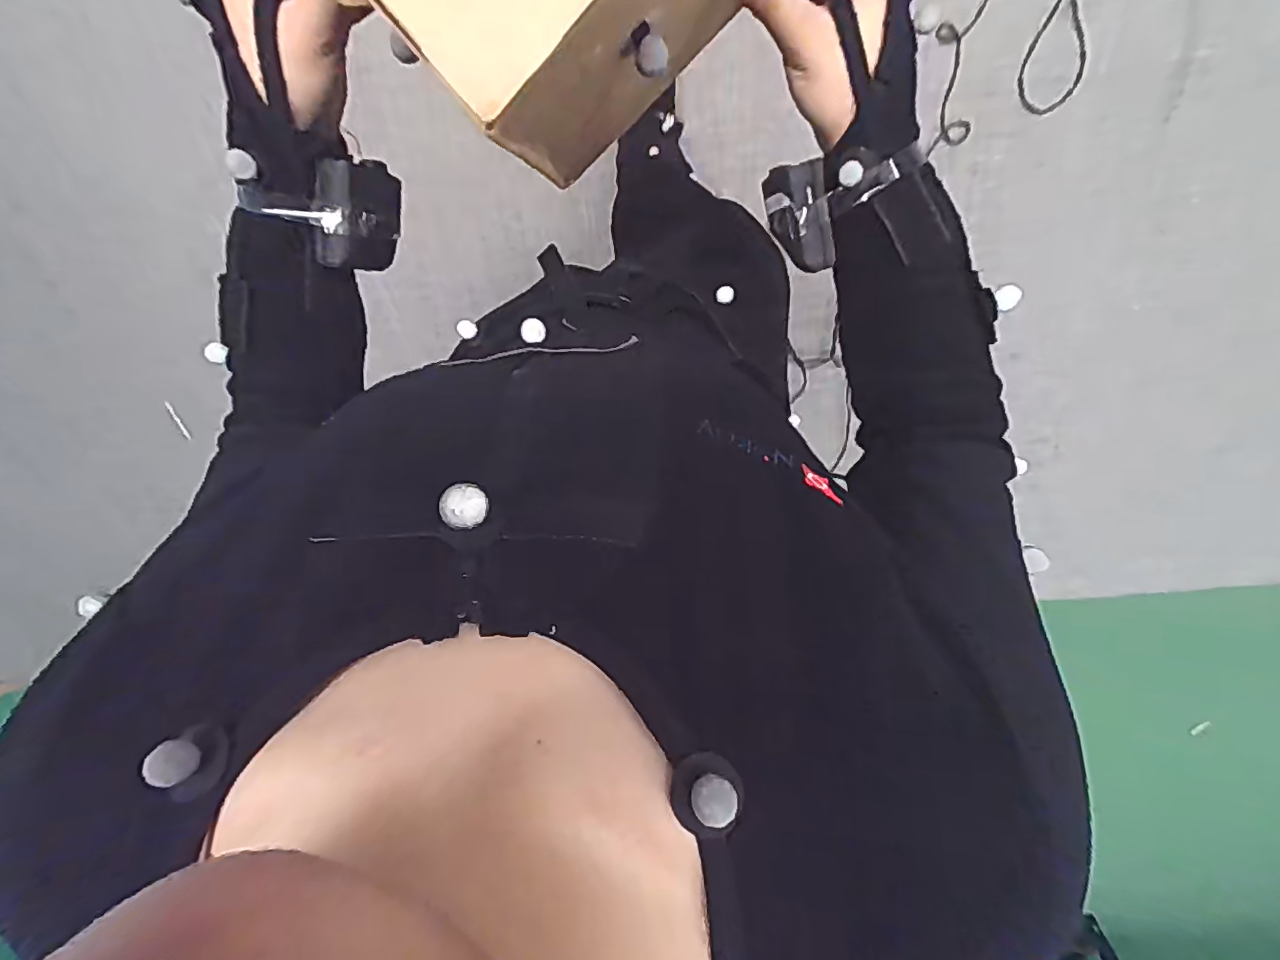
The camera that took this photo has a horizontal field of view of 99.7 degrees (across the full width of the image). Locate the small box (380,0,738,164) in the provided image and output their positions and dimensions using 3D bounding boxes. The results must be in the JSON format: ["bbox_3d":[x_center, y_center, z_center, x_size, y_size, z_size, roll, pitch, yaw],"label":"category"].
[{"bbox_3d":[-0.040,-0.272,0.230,0.179,0.176,0.168,-38,106,17],"label":"small box"}]
